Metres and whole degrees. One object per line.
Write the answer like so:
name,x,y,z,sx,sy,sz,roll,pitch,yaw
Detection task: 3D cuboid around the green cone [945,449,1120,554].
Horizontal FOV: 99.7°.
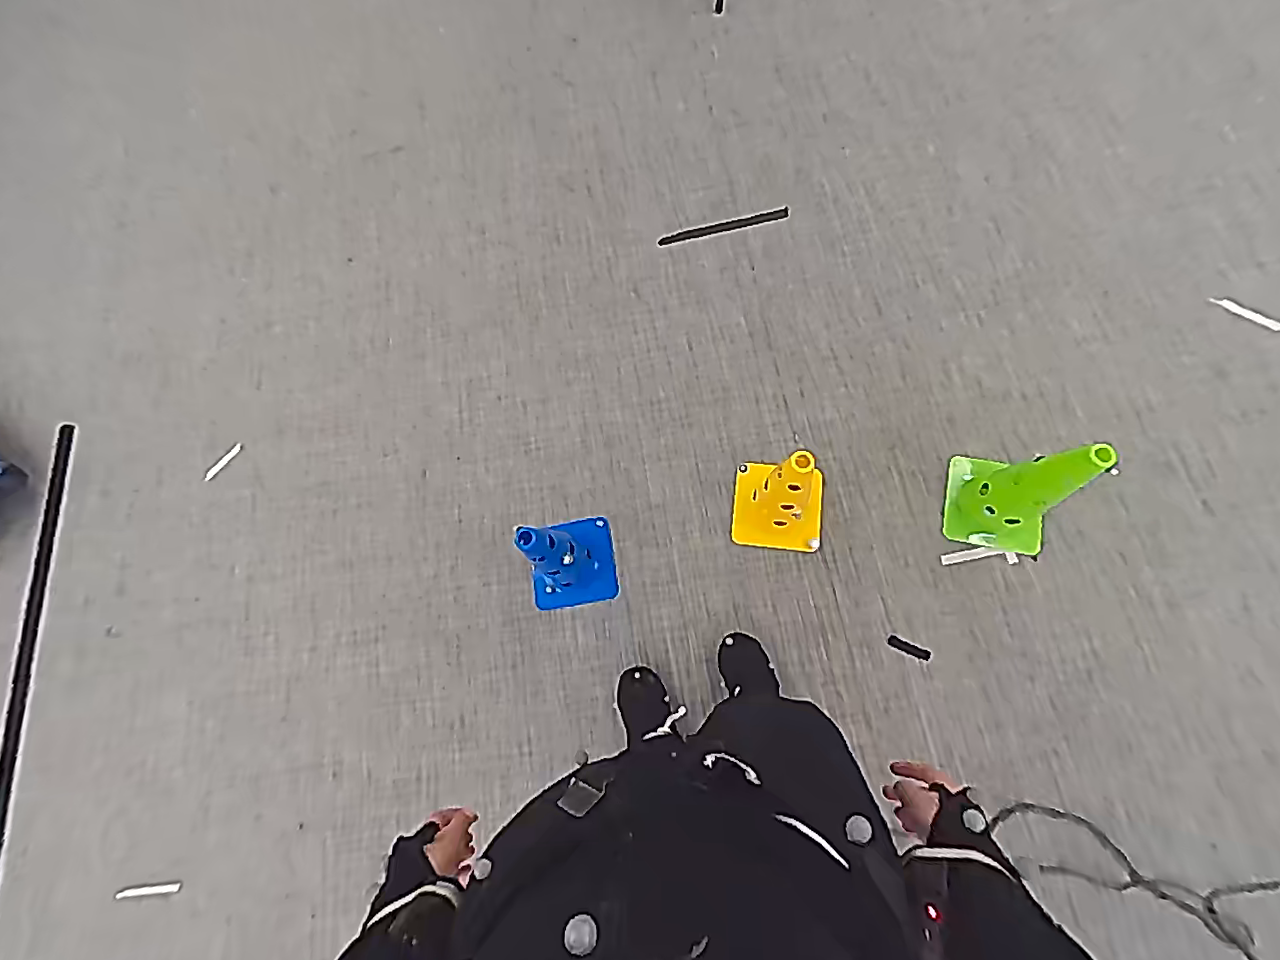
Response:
green cone,0.771,0.008,1.041,0.200,0.368,0.202,10,77,10
